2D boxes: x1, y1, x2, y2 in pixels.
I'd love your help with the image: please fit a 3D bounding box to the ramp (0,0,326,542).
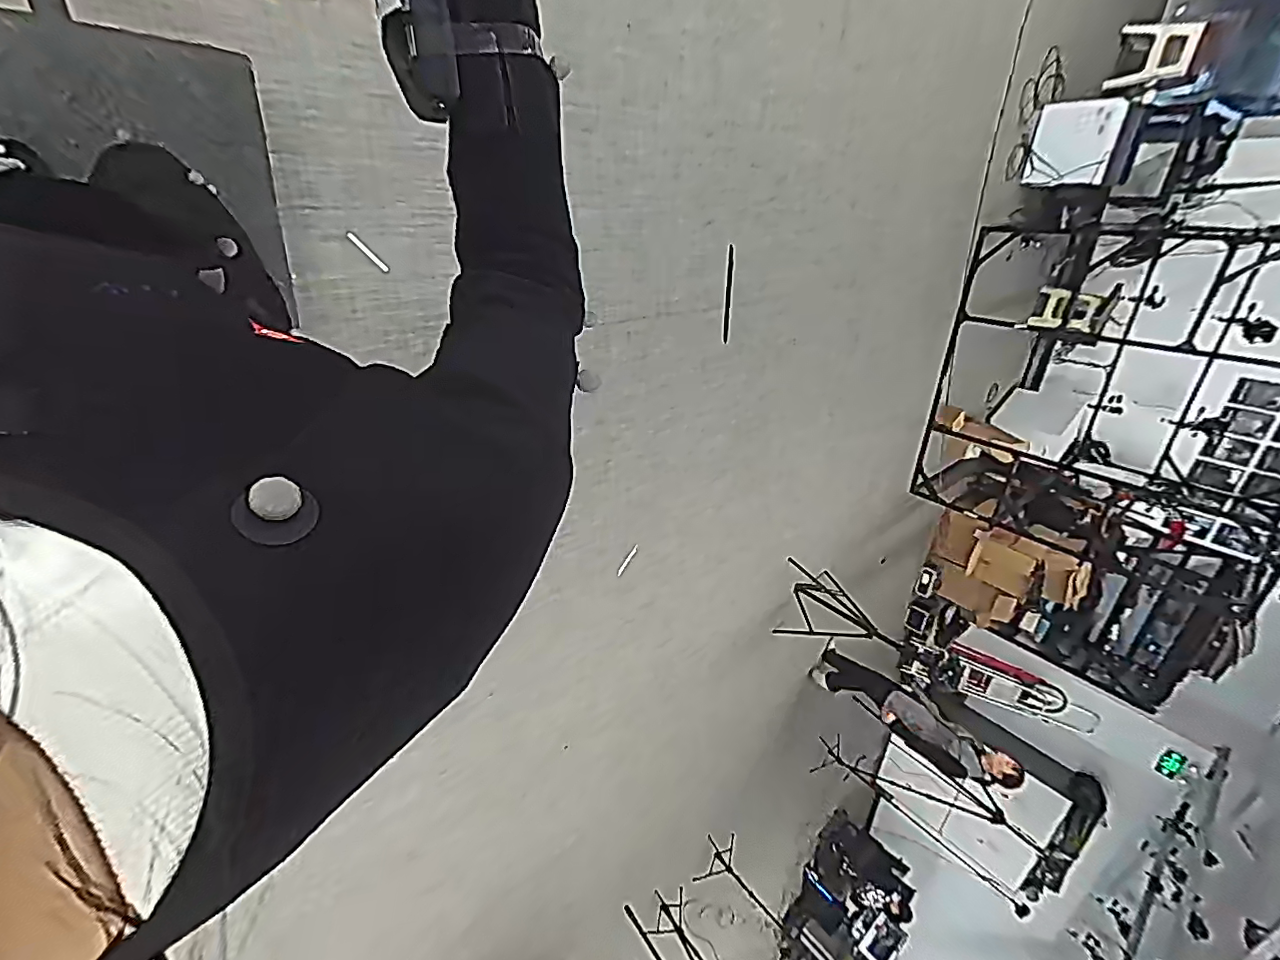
[{"bbox_3d":[-0.986,-0.323,1.107,0.509,0.206,0.991,-20,125,-36],"label":"ramp"}]
